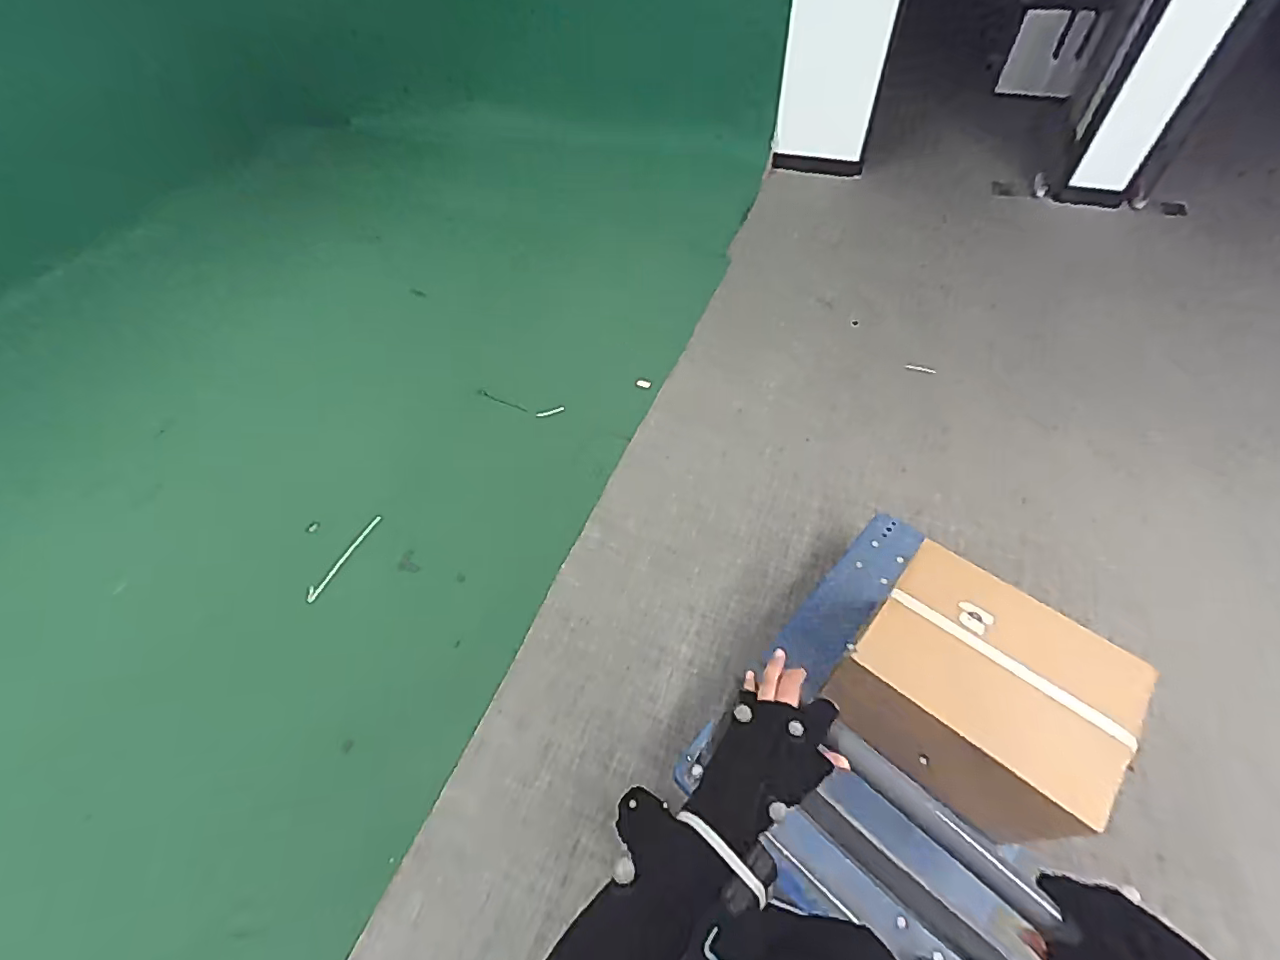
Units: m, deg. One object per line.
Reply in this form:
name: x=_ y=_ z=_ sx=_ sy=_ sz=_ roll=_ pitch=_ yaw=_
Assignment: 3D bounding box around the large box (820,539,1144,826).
large box: x=0.633 y=0.396 z=1.068 sx=0.408 sy=0.320 sz=0.320 roll=33 pitch=63 yaw=26
